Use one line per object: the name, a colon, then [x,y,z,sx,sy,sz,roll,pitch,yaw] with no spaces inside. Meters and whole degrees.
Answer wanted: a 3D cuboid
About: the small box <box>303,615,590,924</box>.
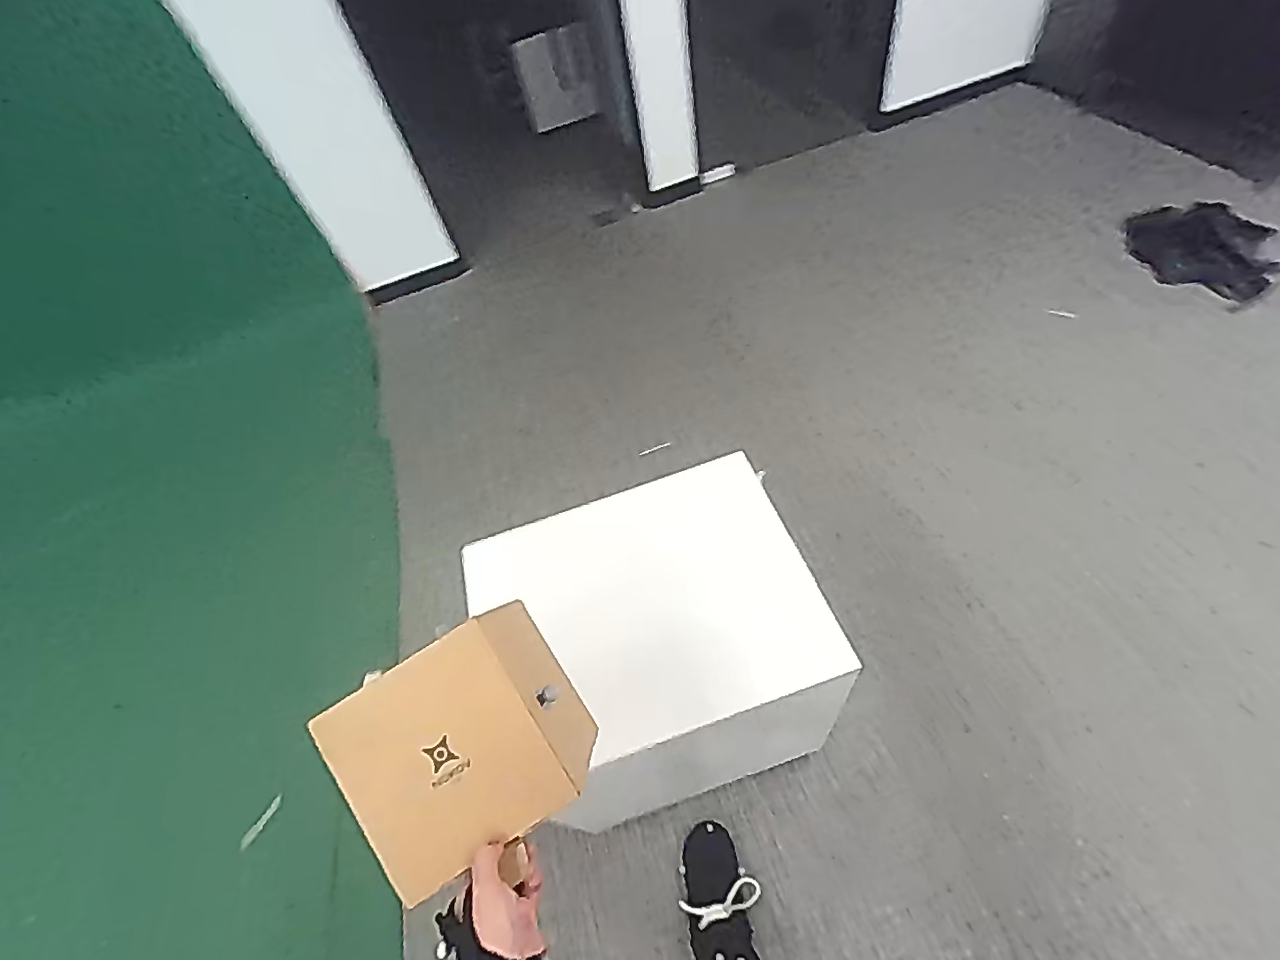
small box: [-0.162,0.244,0.514,0.168,0.176,0.179,-33,85,-5]
